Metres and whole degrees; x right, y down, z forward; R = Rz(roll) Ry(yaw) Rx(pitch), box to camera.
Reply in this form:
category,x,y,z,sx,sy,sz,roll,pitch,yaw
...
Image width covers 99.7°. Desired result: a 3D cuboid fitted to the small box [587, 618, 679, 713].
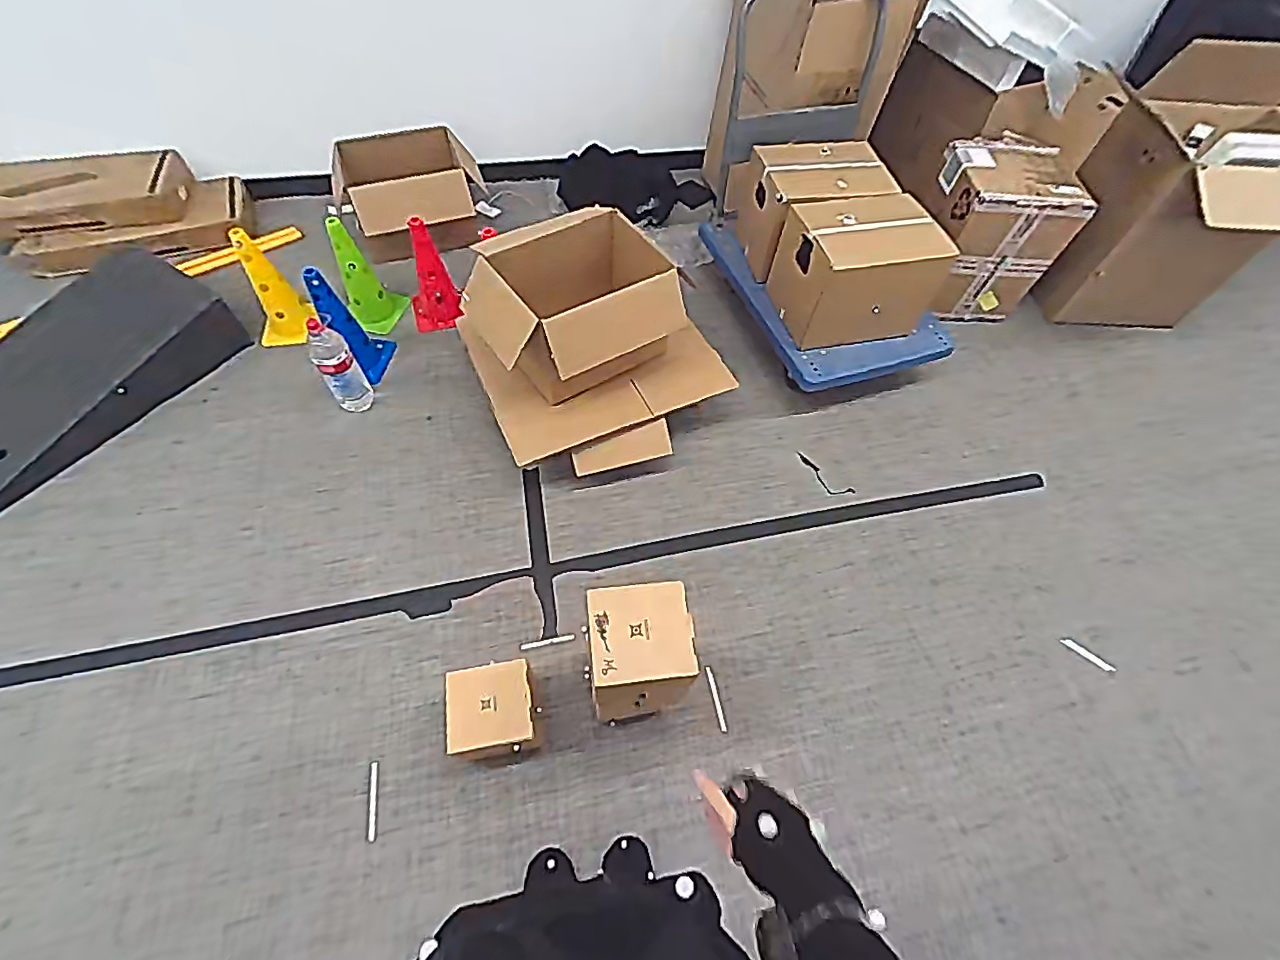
category,x,y,z,sx,sy,sz,roll,pitch,yaw
small box,-0.013,0.375,1.122,0.179,0.176,0.168,-7,60,-9

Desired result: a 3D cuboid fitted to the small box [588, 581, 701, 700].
category,x,y,z,sx,sy,sz,roll,pitch,yaw
small box,-0.002,0.293,0.980,0.179,0.176,0.168,-4,59,-8

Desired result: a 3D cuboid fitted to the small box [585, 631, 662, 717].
category,x,y,z,sx,sy,sz,roll,pitch,yaw
small box,-0.032,0.446,1.270,0.168,0.176,0.179,-9,59,-10

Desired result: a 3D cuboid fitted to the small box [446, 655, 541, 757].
category,x,y,z,sx,sy,sz,roll,pitch,yaw
small box,-0.323,0.510,1.211,0.179,0.176,0.168,-8,59,-9
